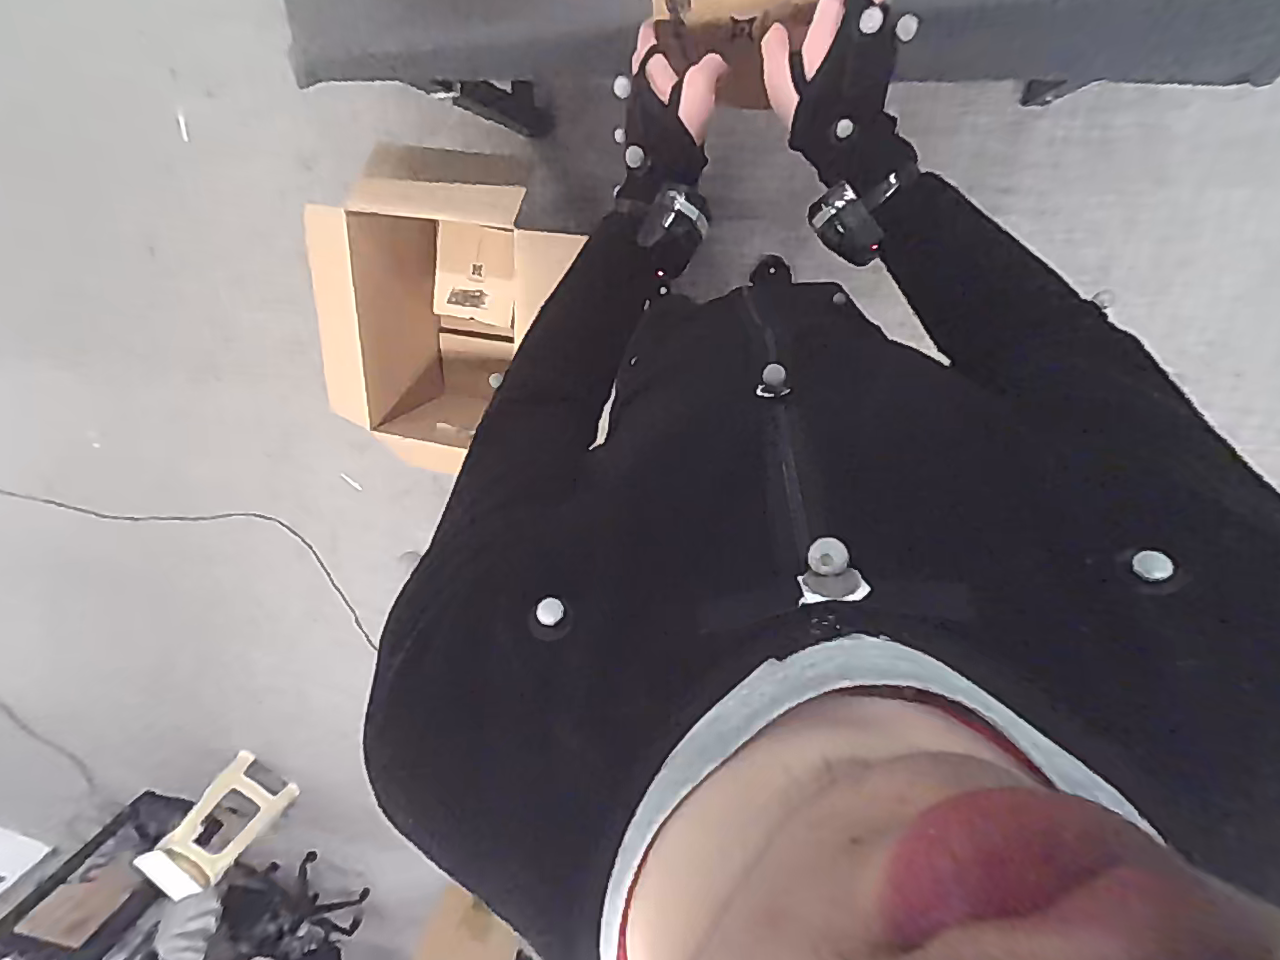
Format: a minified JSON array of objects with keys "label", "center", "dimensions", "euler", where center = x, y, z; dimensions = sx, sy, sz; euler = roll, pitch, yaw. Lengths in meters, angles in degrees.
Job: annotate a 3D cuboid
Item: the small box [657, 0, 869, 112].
[{"label":"small box","center":[0.110,-0.471,0.482],"dimensions":[0.179,0.168,0.176],"euler":[6,80,6]}]
